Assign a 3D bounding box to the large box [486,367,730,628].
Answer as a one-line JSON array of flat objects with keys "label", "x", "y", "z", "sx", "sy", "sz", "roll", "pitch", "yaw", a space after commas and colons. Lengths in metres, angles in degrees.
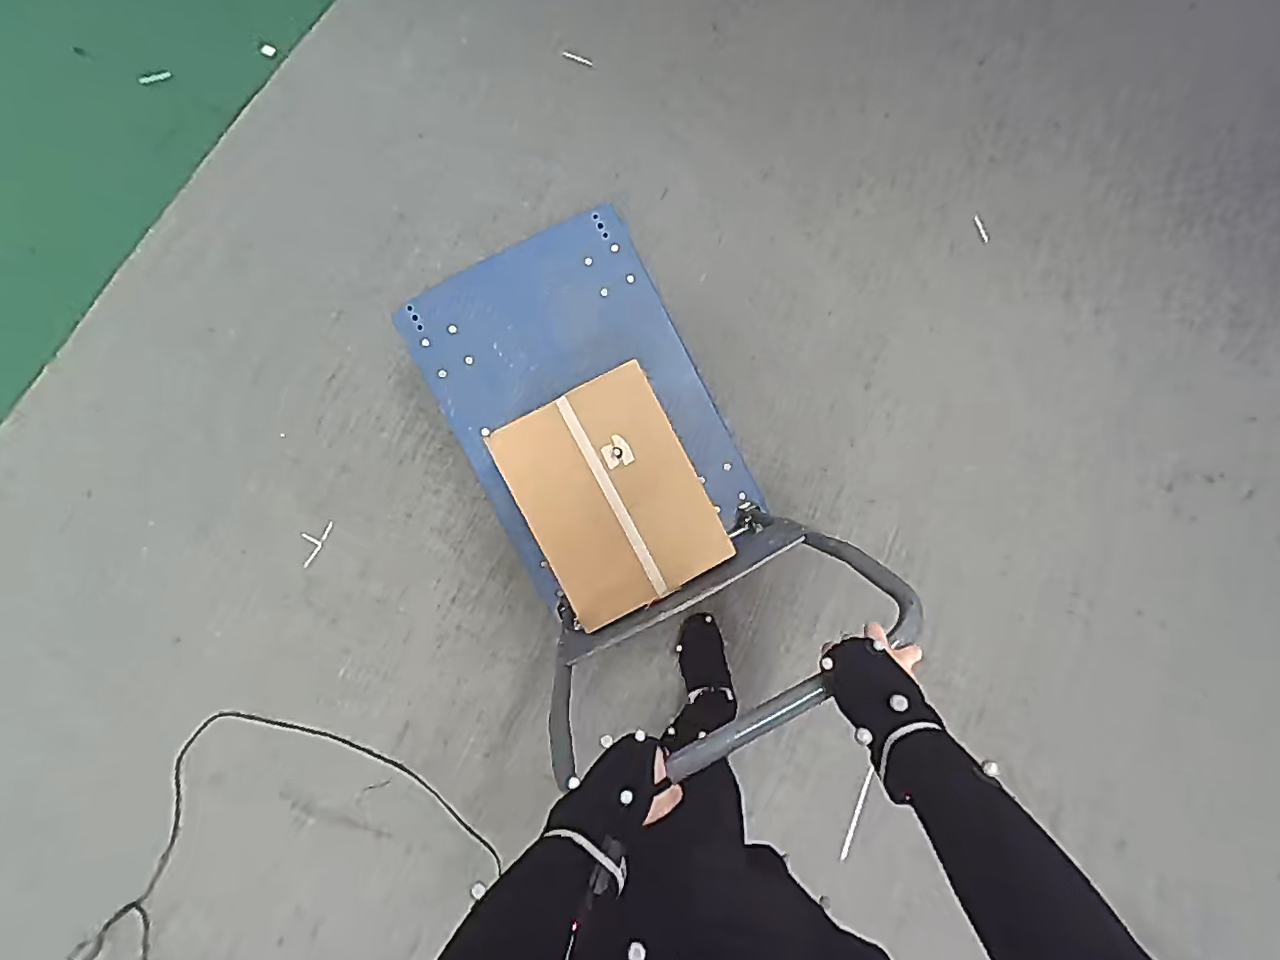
[{"label": "large box", "x": -0.061, "y": 0.033, "z": 1.149, "sx": 0.320, "sy": 0.320, "sz": 0.408, "roll": -28, "pitch": 91, "yaw": -3}]
